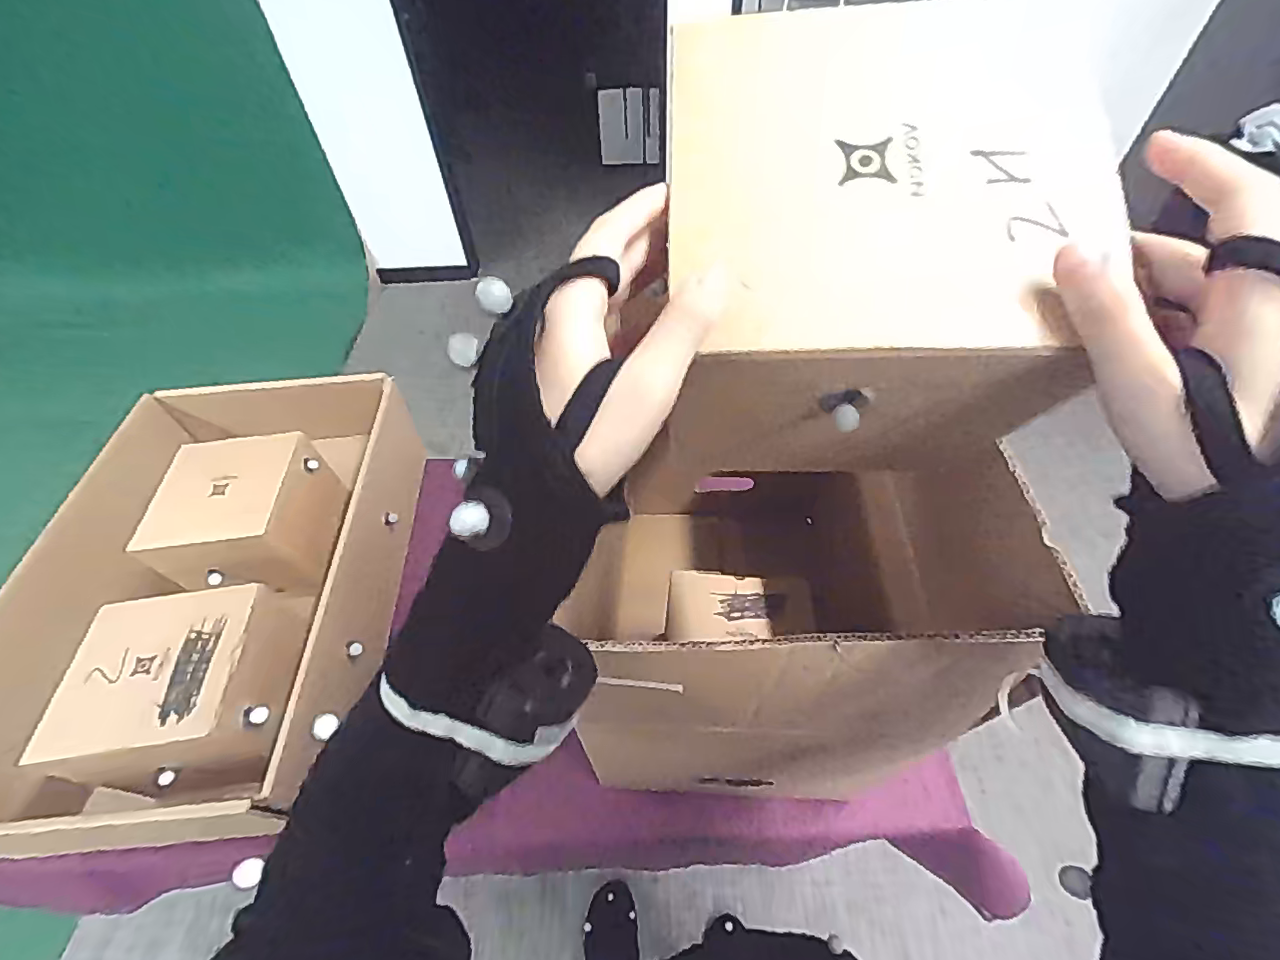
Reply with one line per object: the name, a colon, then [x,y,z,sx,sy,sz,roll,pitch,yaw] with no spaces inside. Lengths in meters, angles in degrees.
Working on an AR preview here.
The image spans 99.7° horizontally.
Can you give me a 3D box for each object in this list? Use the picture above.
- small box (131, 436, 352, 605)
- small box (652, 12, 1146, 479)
small box: [-0.540,0.065,0.768,0.168,0.176,0.179,-7,51,-2]
small box: [0.101,-0.098,0.293,0.179,0.176,0.168,0,77,5]
